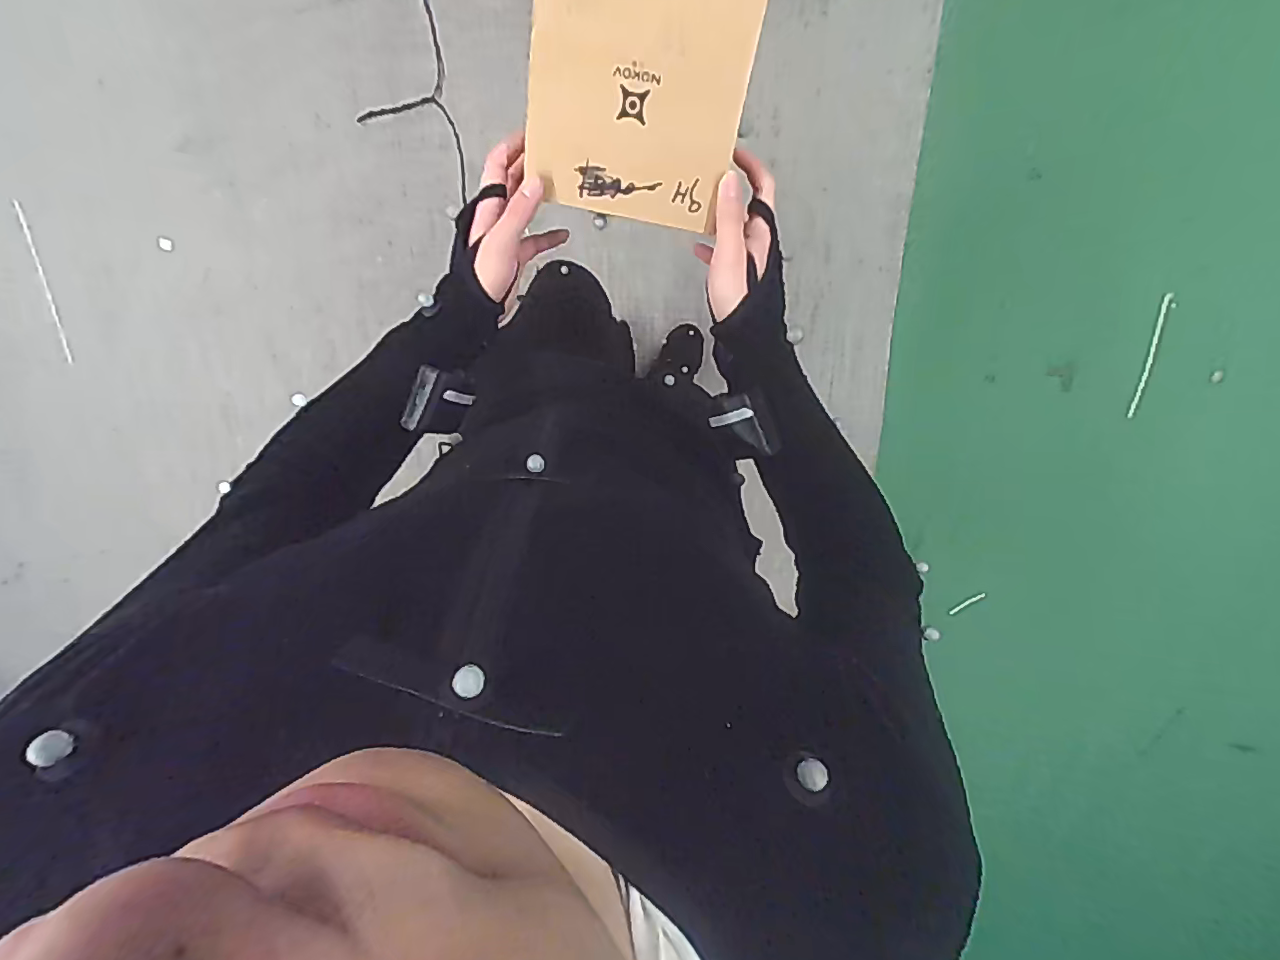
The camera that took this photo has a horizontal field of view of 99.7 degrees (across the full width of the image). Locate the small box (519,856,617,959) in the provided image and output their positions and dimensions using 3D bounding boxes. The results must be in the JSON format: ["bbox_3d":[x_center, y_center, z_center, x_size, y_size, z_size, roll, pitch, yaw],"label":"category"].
[{"bbox_3d":[-0.140,0.908,1.090,0.168,0.176,0.179,5,108,3],"label":"small box"}]

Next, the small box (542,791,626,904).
[{"bbox_3d":[-0.124,0.860,1.245,0.168,0.176,0.179,5,108,4],"label":"small box"}]

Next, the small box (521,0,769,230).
[{"bbox_3d":[0.004,-0.335,0.473,0.168,0.176,0.179,12,120,0],"label":"small box"}]

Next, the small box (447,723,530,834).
[{"bbox_3d":[-0.394,0.779,1.420,0.168,0.176,0.179,9,108,3],"label":"small box"}]
